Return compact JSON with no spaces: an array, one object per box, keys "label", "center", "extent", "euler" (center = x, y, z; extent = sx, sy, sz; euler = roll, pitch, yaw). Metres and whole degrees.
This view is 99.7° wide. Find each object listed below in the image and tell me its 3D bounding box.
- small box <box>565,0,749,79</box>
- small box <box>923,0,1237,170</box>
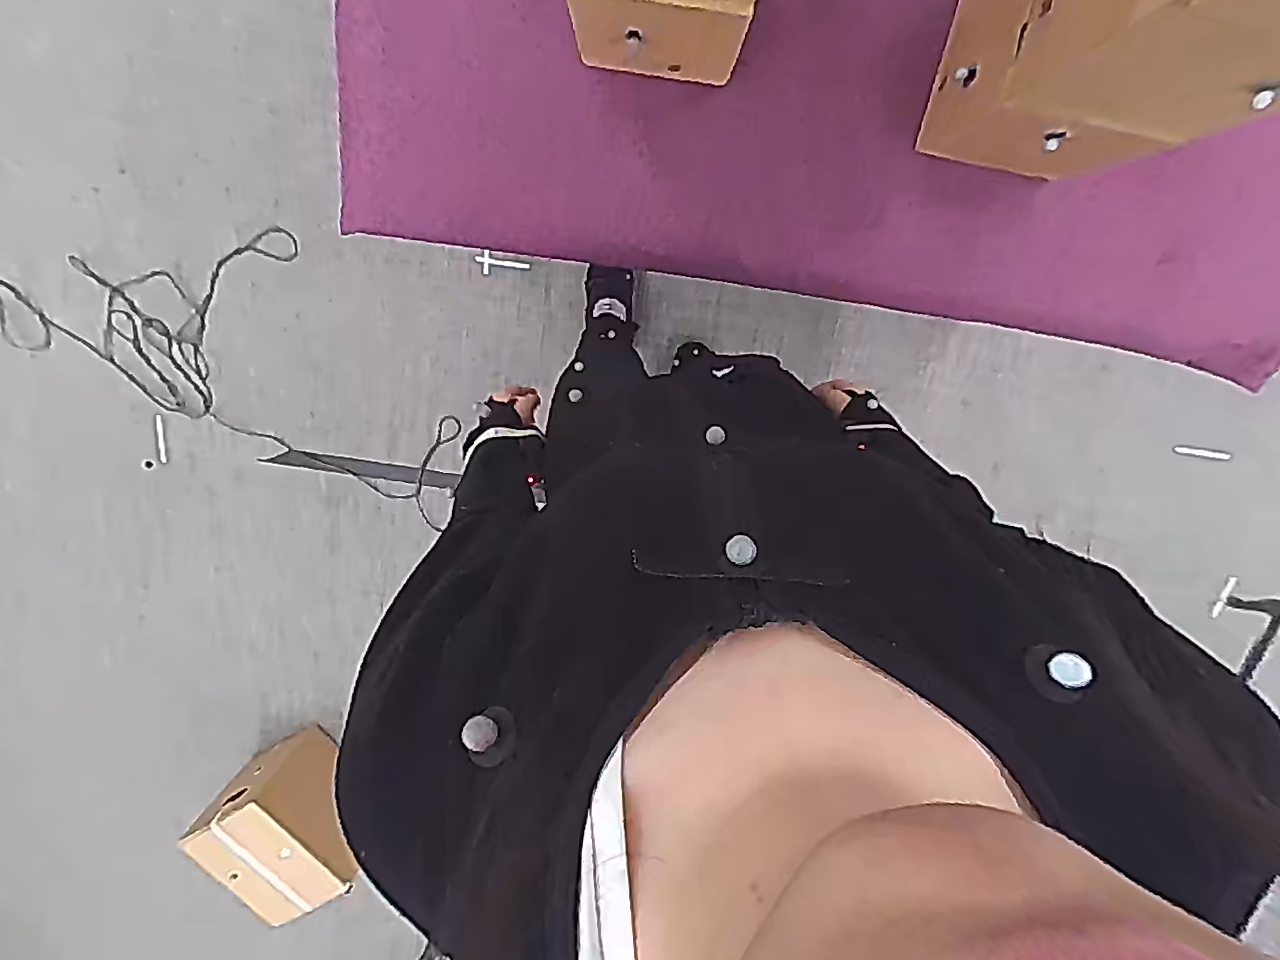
[{"label":"small box","center":[0.026,-0.515,0.509],"extent":[0.168,0.176,0.179],"euler":[7,107,-1]},{"label":"small box","center":[0.419,-0.426,0.534],"extent":[0.179,0.176,0.168],"euler":[10,109,-3]}]
